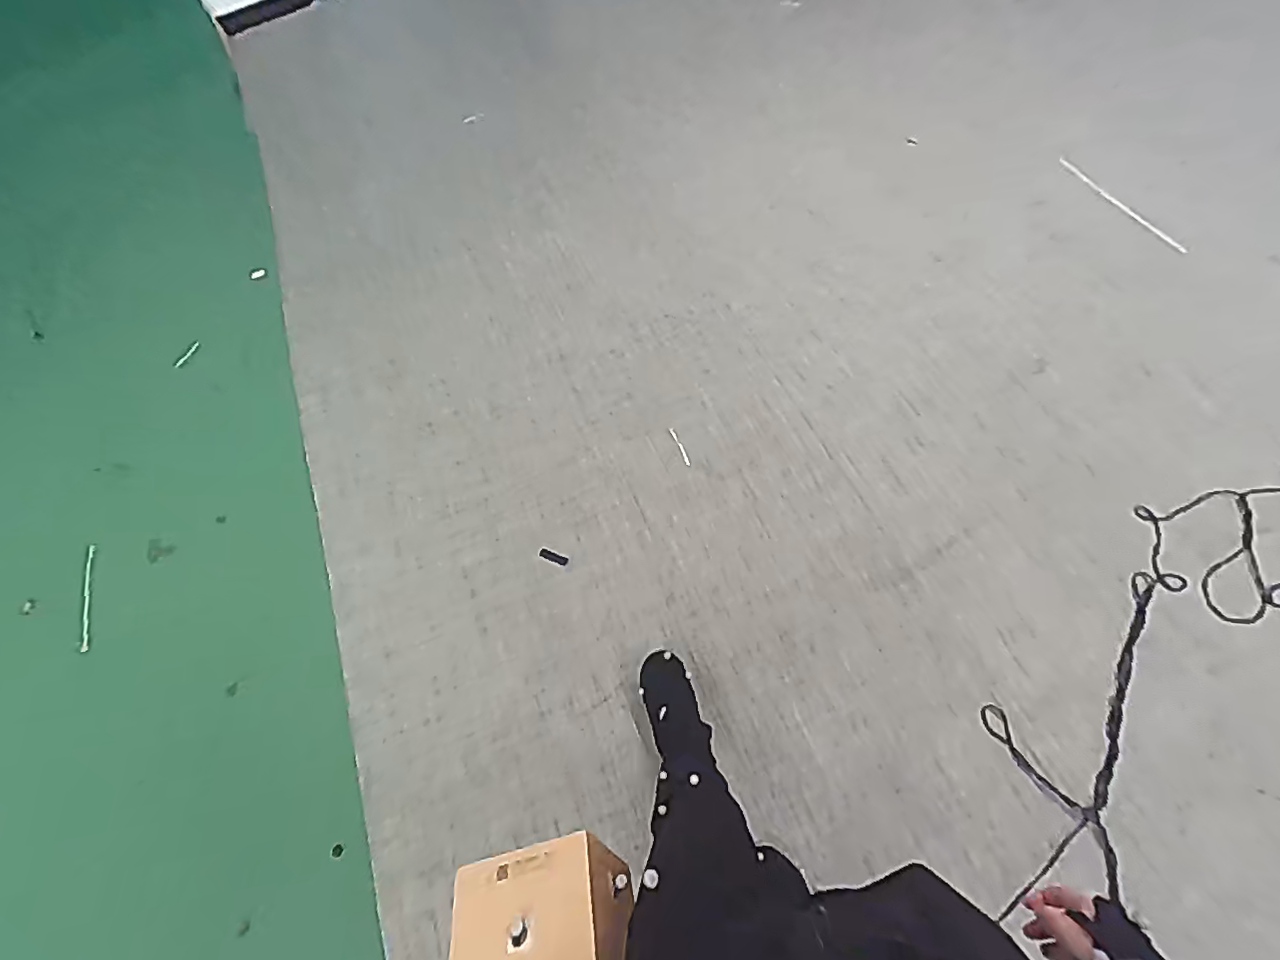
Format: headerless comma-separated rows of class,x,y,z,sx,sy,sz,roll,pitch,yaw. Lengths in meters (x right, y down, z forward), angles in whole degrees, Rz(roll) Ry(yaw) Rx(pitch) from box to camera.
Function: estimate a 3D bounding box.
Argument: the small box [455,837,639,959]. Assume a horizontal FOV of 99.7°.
small box,-0.103,0.543,0.625,0.168,0.179,0.176,-19,39,2
